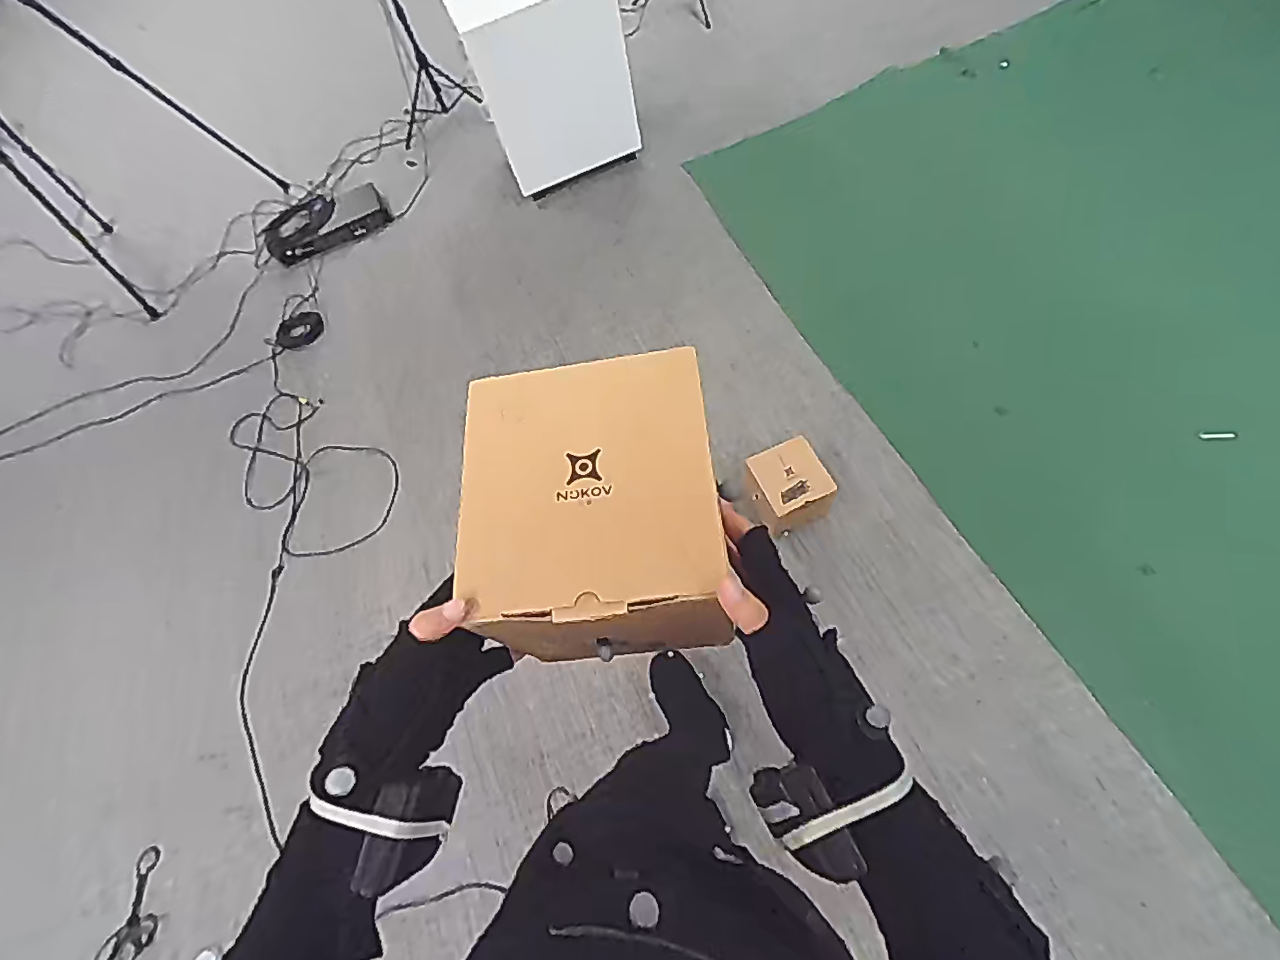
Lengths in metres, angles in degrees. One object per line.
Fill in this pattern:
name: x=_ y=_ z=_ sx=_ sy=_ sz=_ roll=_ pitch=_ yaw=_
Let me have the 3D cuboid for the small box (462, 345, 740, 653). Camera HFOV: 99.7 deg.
small box: x=-0.019 y=0.026 z=0.419 sx=0.168 sy=0.176 sz=0.179 roll=-7 pitch=64 yaw=6

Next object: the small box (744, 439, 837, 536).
small box: x=0.383 y=0.030 z=1.405 sx=0.168 sy=0.176 sz=0.179 roll=-23 pitch=62 yaw=-2
